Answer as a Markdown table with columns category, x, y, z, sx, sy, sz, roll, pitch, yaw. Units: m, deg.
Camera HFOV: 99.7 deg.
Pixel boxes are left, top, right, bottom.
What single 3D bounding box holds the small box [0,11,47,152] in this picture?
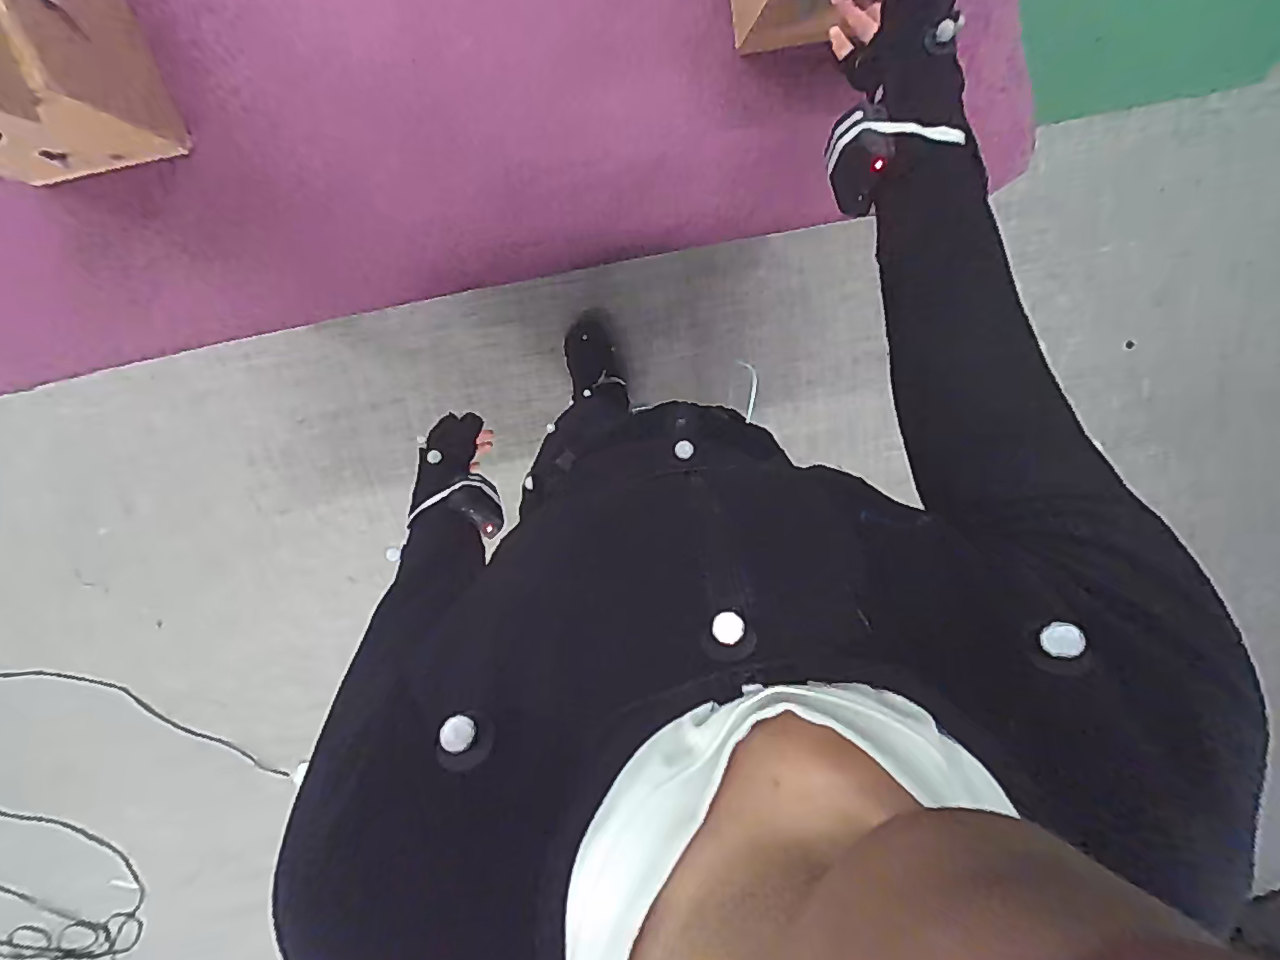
| category | x | y | z | sx | sy | sz | roll | pitch | yaw |
| --- | --- | --- | --- | --- | --- | --- | --- | --- | --- |
| small box | -0.540 | -0.305 | 0.321 | 0.168 | 0.176 | 0.179 | -10 | 109 | -4 |
